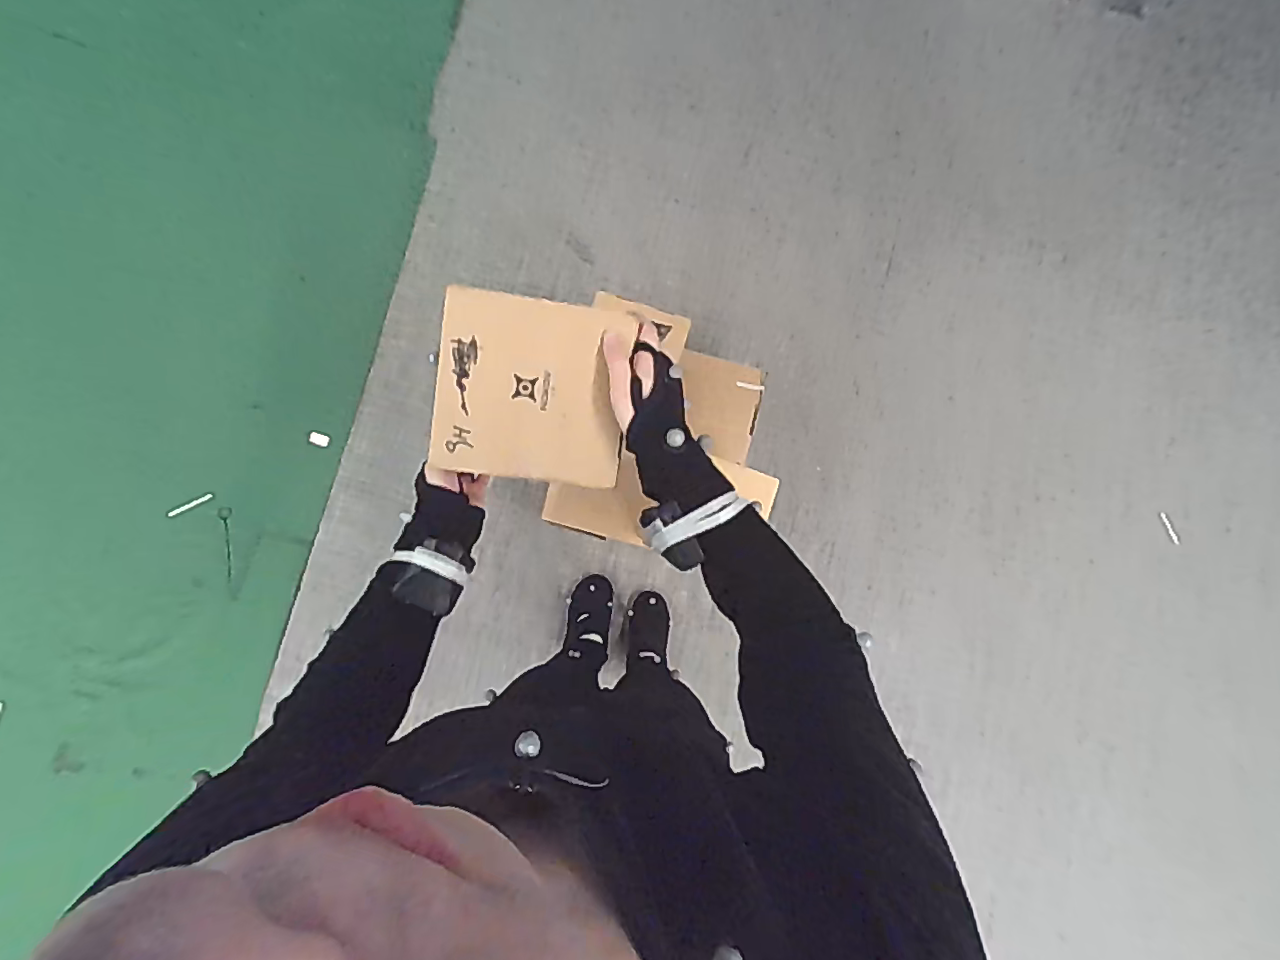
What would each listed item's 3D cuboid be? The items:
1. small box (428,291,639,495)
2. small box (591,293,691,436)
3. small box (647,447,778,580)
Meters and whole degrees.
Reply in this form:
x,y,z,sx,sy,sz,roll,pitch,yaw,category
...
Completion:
x,y,z,sx,sy,sz,roll,pitch,yaw,category
-0.109,-0.082,0.575,0.179,0.176,0.168,7,92,-10,small box
-0.021,-0.194,0.960,0.168,0.176,0.179,18,83,0,small box
0.116,0.059,0.943,0.168,0.176,0.179,19,85,-2,small box
